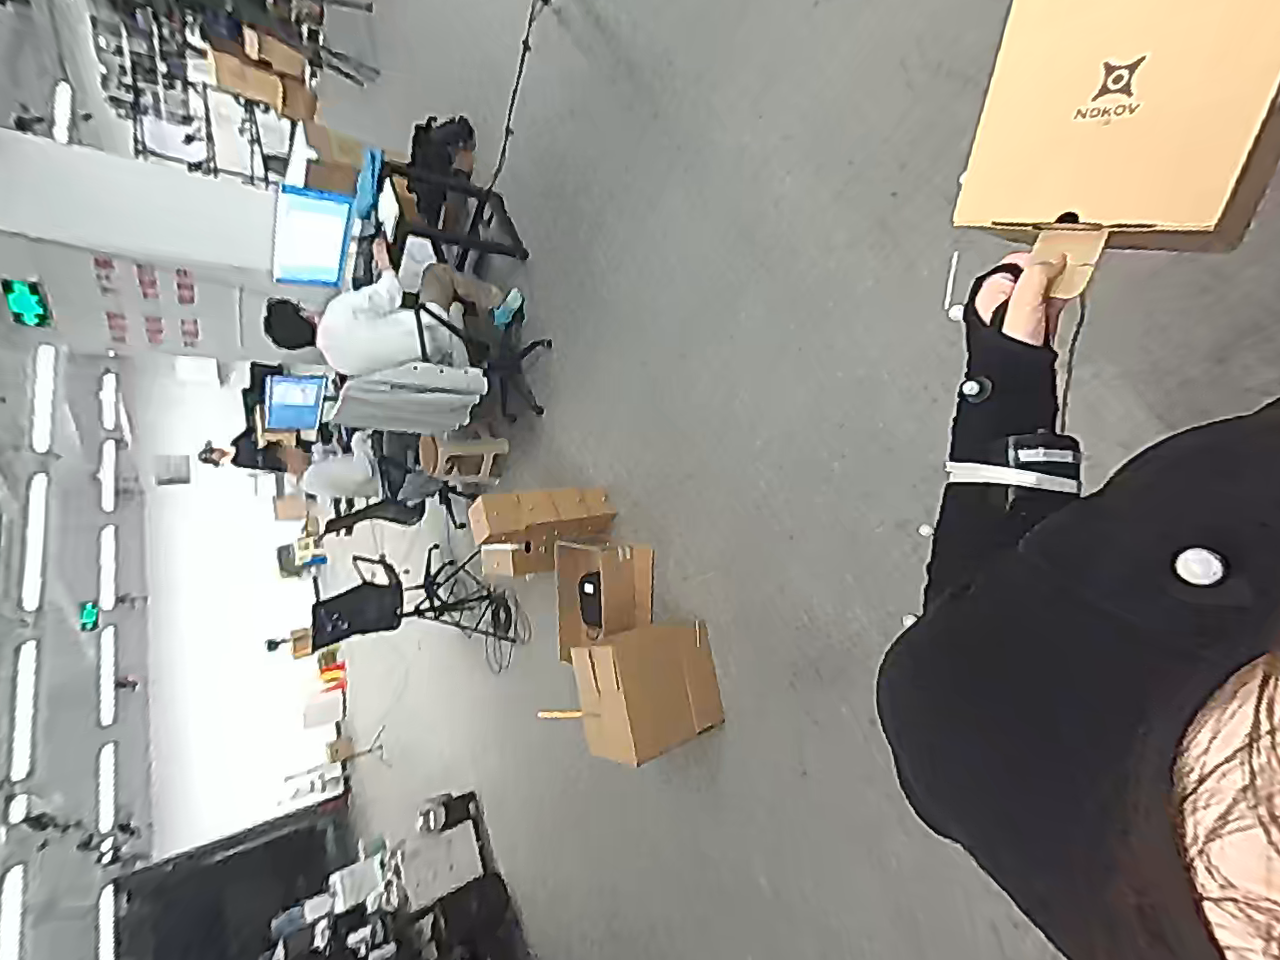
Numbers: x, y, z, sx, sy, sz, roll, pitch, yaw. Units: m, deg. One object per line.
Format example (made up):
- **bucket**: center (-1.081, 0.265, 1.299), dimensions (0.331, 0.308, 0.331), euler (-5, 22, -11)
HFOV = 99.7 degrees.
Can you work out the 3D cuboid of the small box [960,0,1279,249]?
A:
- **small box**: center (0.395, -0.289, 0.427), dimensions (0.168, 0.176, 0.179), euler (29, 123, 42)
